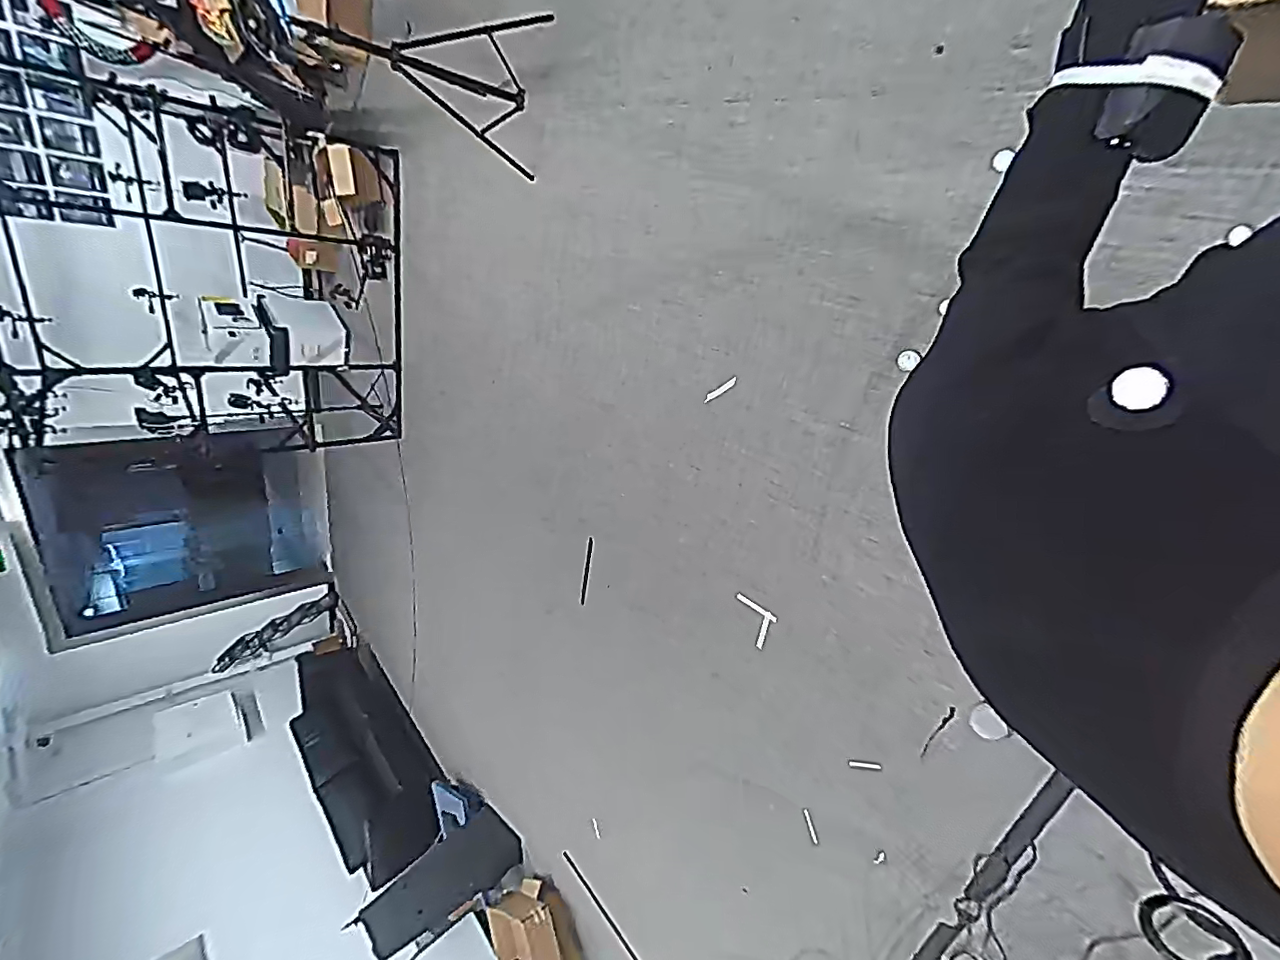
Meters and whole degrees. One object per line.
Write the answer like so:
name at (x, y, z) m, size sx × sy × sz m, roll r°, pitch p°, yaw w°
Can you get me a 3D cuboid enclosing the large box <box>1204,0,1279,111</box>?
large box at (0.600, -0.402, 0.250) m, size 0.408 × 0.320 × 0.320 m, roll 25°, pitch 123°, yaw 39°
